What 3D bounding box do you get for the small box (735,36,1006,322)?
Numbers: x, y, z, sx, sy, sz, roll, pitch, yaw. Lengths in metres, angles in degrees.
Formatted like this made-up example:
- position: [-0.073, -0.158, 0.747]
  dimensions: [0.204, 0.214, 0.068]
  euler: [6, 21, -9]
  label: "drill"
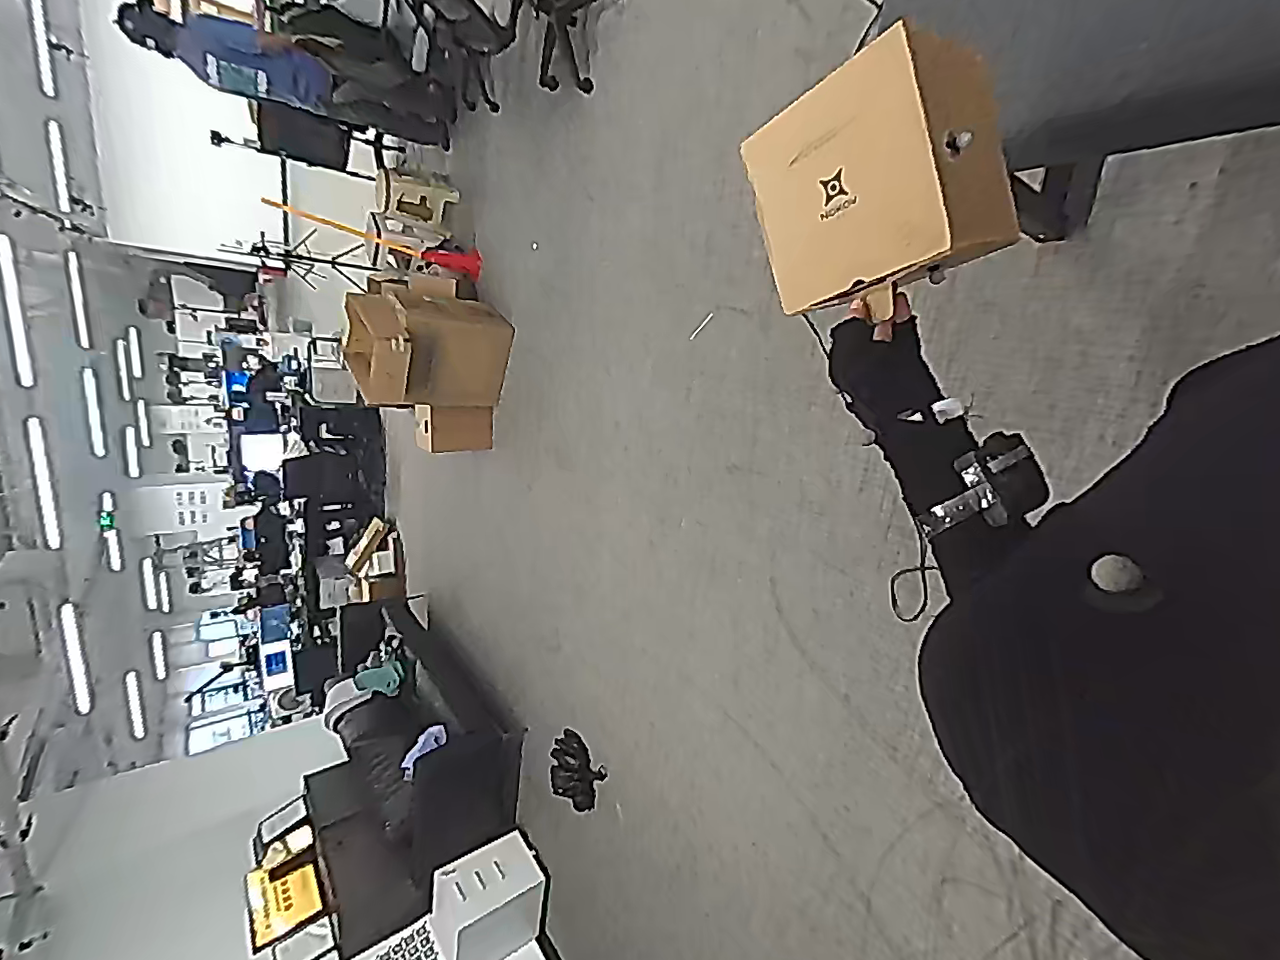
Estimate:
- position: [0.227, -0.275, 0.529]
  dimensions: [0.168, 0.176, 0.179]
  euler: [-10, 100, 52]
  label: "small box"
